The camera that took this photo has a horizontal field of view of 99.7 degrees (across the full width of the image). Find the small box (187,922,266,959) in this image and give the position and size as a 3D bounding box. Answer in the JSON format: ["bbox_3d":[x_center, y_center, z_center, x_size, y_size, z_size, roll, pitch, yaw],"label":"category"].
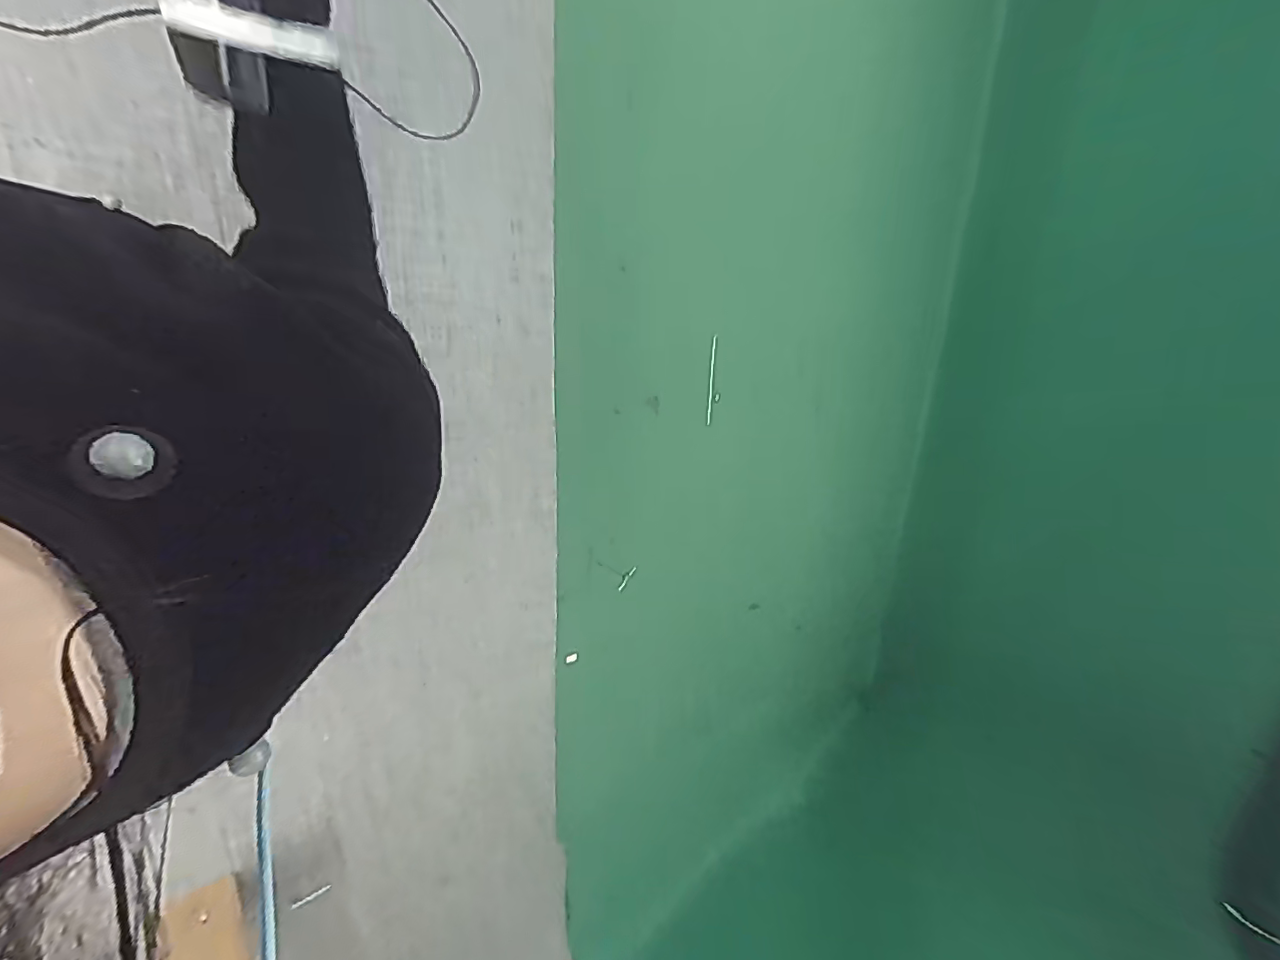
[{"bbox_3d":[-0.974,1.205,1.259,0.179,0.176,0.168,-16,114,-40],"label":"small box"}]
